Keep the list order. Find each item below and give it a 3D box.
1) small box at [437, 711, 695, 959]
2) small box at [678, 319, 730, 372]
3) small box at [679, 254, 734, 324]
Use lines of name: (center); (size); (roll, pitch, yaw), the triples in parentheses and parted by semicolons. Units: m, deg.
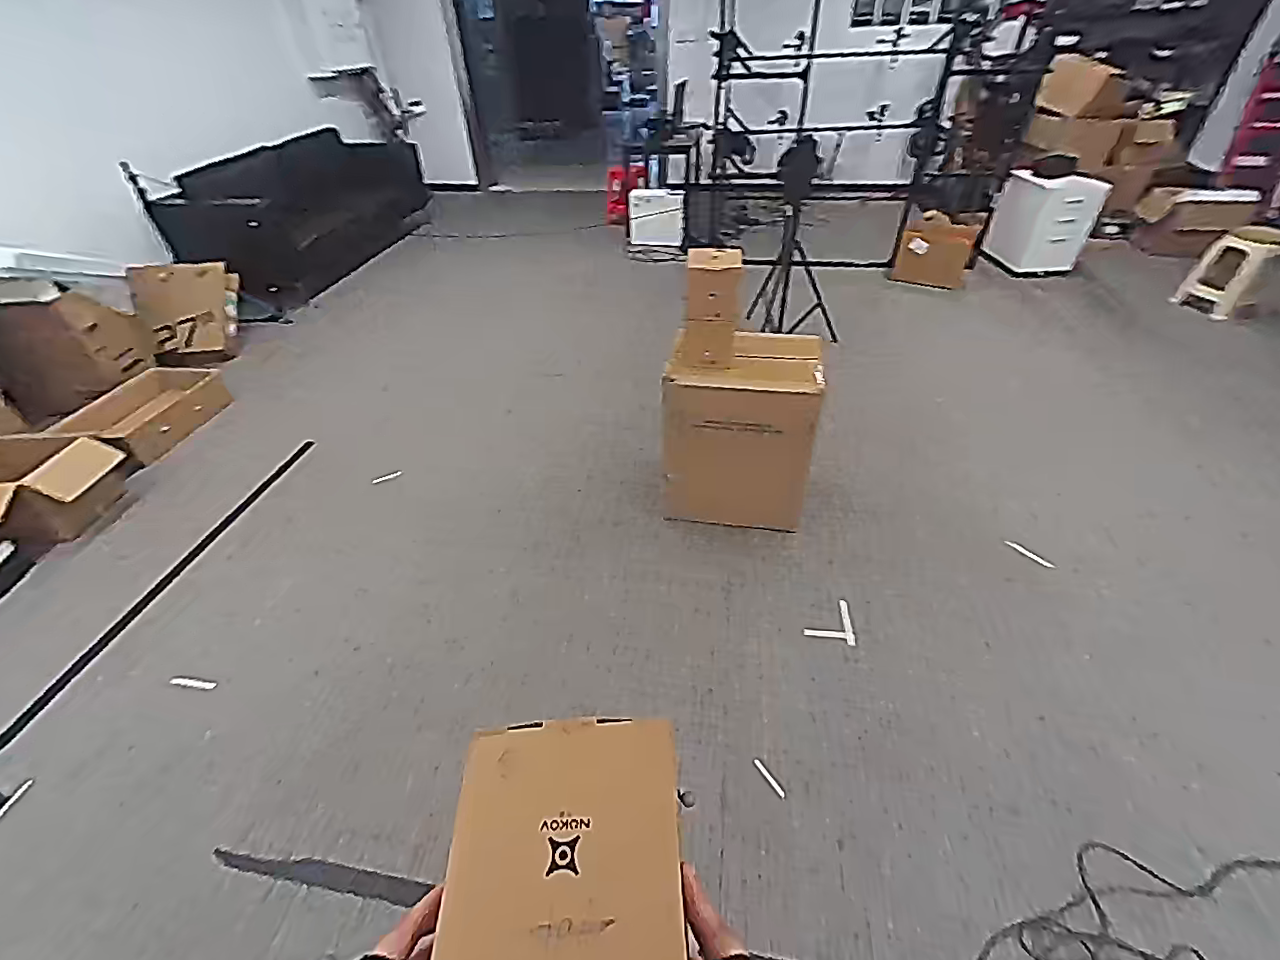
small box: (-0.043, 0.311, 0.442); (0.168, 0.176, 0.179); (-5, 46, 2)
small box: (0.219, -0.487, 1.843); (0.168, 0.176, 0.179); (4, 41, 7)
small box: (0.213, -0.613, 1.737); (0.168, 0.176, 0.179); (3, 42, 6)
